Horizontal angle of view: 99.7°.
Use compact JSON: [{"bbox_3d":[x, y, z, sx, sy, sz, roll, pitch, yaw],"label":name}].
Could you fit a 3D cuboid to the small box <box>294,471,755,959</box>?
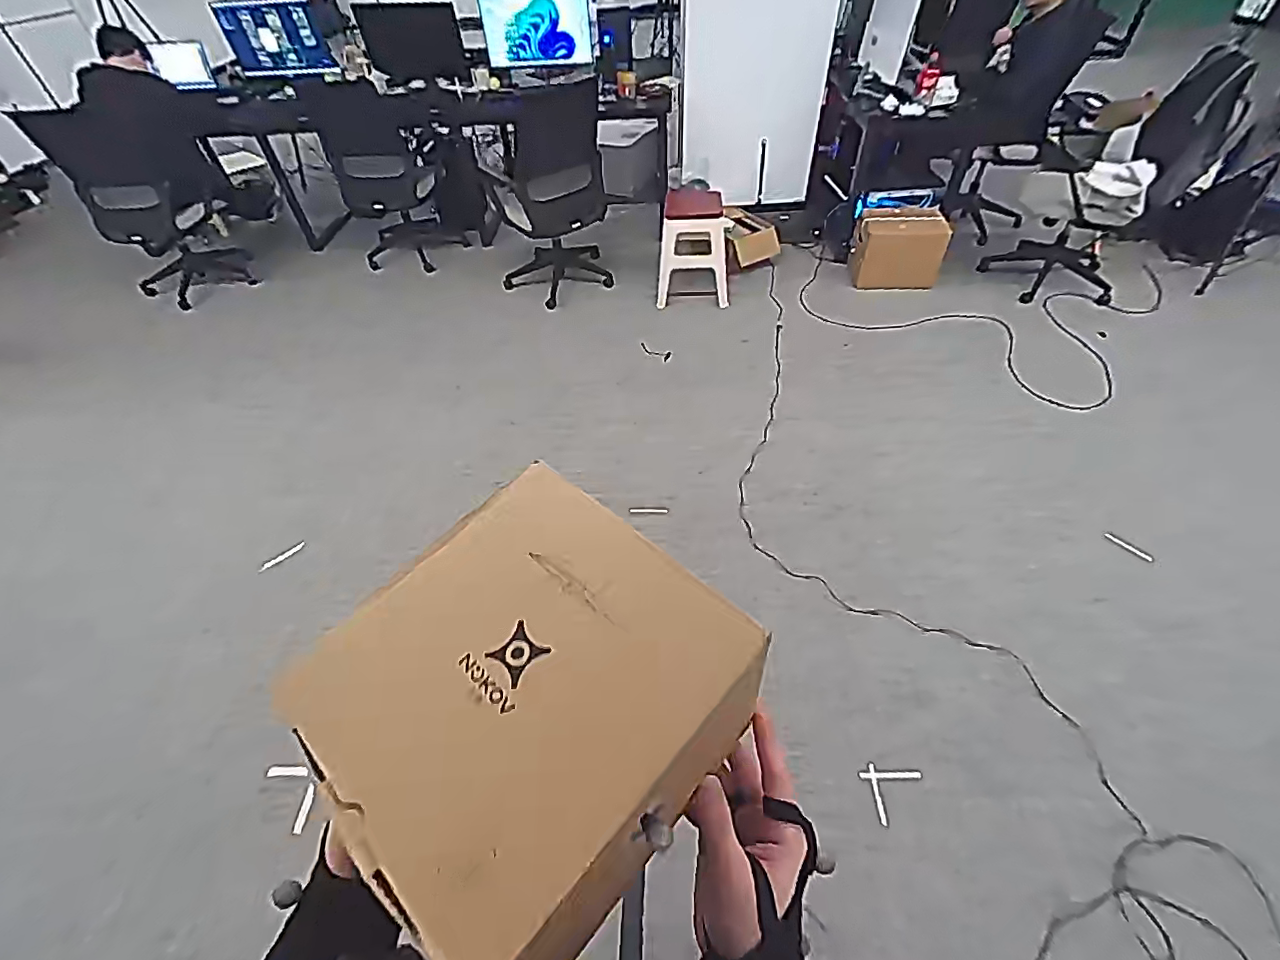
[{"bbox_3d":[-0.049,0.135,0.326,0.168,0.176,0.179,34,63,28],"label":"small box"}]
